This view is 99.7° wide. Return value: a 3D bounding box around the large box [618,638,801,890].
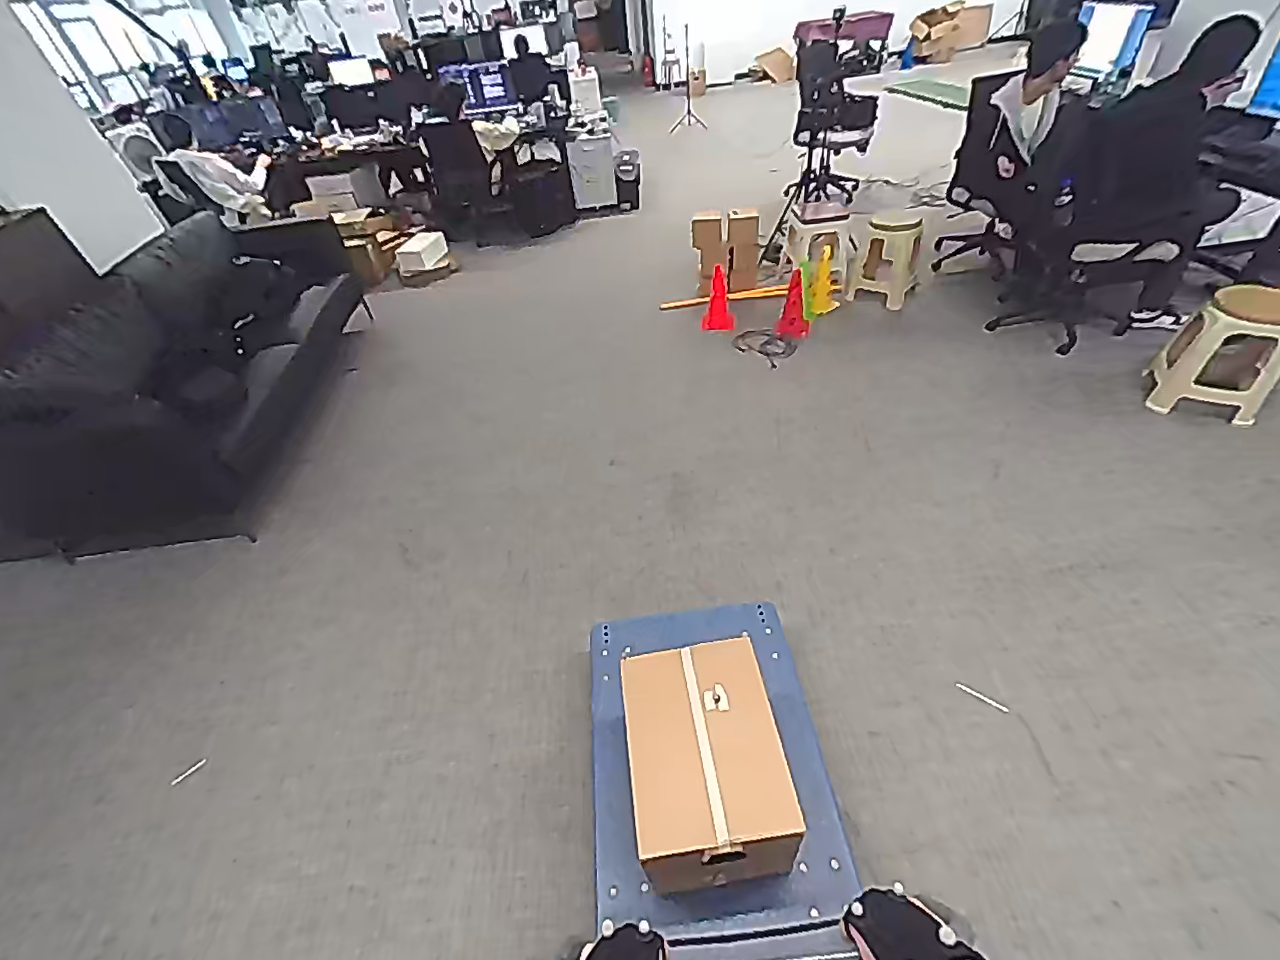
[{"bbox_3d":[0.143,0.643,1.240,0.320,0.320,0.408,-10,43,-1],"label":"large box"}]
